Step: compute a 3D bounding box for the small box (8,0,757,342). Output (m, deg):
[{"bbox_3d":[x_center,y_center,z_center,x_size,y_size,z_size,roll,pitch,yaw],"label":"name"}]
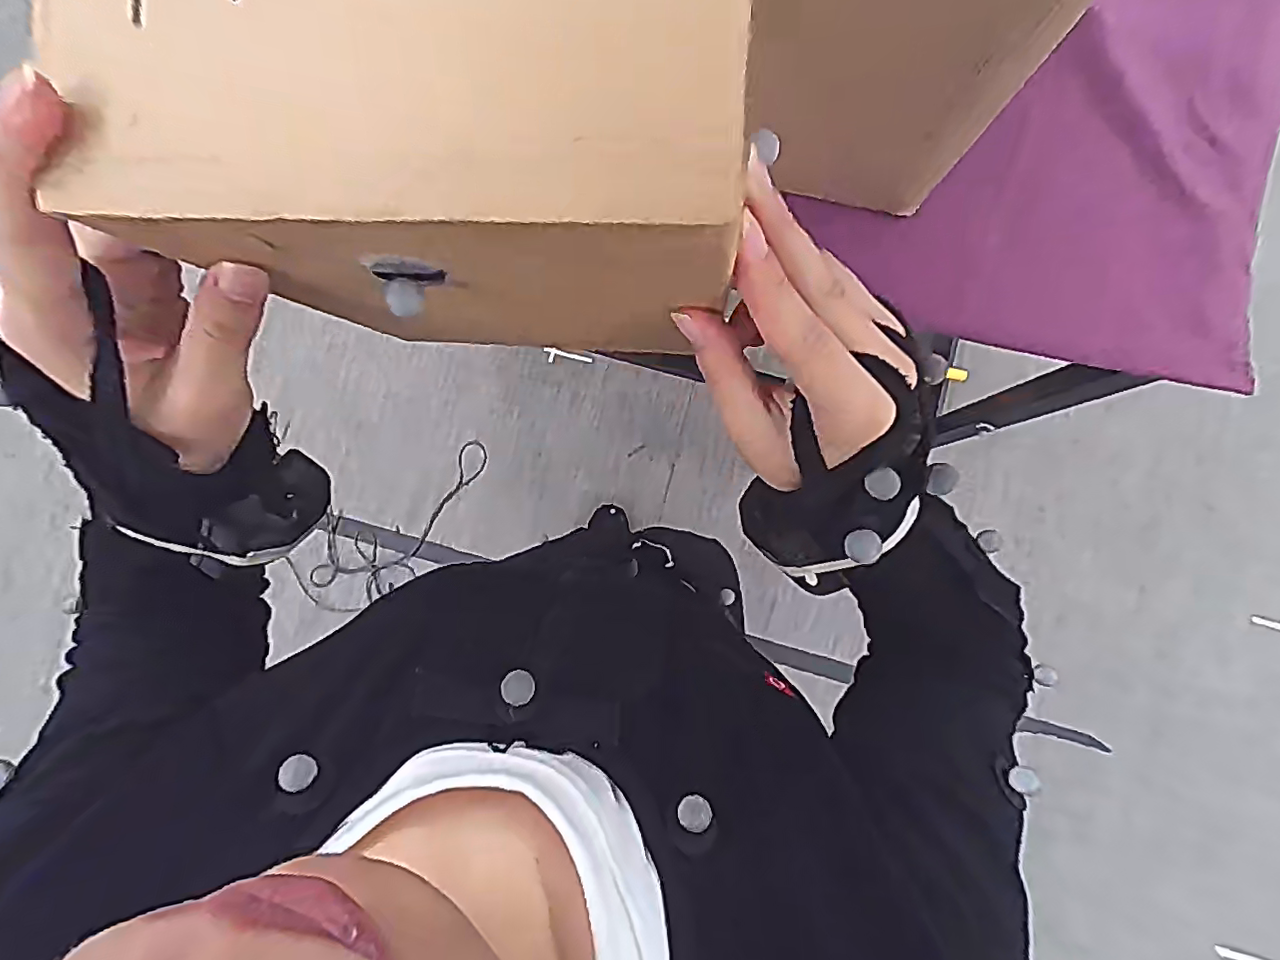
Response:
[{"bbox_3d":[-0.050,-0.149,0.195,0.179,0.176,0.168,4,95,6],"label":"small box"}]
